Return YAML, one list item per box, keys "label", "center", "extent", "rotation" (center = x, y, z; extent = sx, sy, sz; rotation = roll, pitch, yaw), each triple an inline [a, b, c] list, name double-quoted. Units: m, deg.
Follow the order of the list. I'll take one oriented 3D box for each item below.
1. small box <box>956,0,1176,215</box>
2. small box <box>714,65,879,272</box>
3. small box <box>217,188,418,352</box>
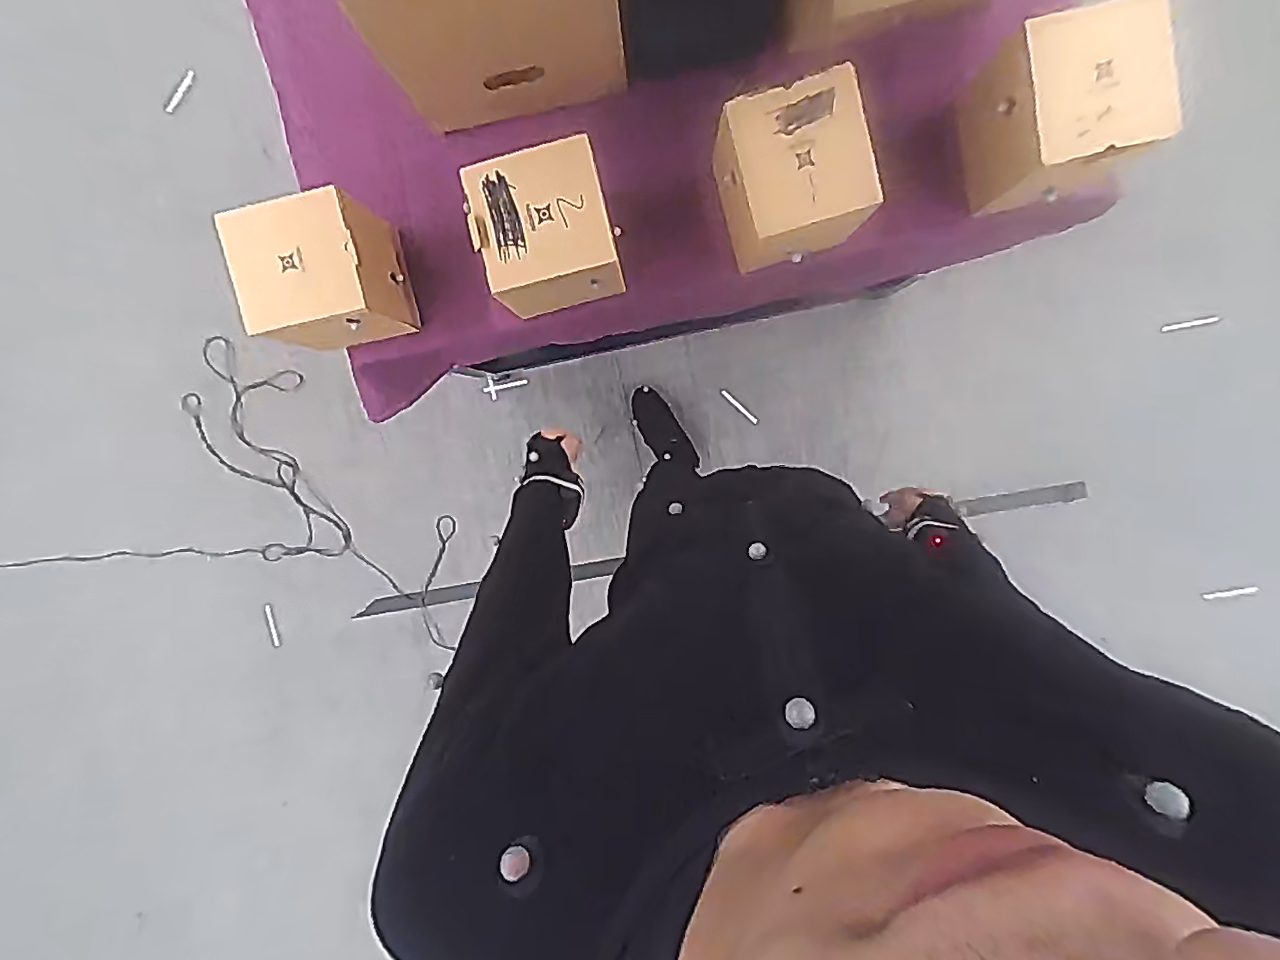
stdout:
- label: "small box"
  center: [0.558, -0.494, 0.733]
  extent: [0.168, 0.176, 0.179]
  rotation: [-10, 95, 5]
- label: "small box"
  center: [0.207, -0.420, 0.760]
  extent: [0.168, 0.176, 0.179]
  rotation: [-15, 96, 5]
- label: "small box"
  center: [-0.464, -0.298, 0.805]
  extent: [0.179, 0.176, 0.168]
  rotation: [-12, 95, 2]
